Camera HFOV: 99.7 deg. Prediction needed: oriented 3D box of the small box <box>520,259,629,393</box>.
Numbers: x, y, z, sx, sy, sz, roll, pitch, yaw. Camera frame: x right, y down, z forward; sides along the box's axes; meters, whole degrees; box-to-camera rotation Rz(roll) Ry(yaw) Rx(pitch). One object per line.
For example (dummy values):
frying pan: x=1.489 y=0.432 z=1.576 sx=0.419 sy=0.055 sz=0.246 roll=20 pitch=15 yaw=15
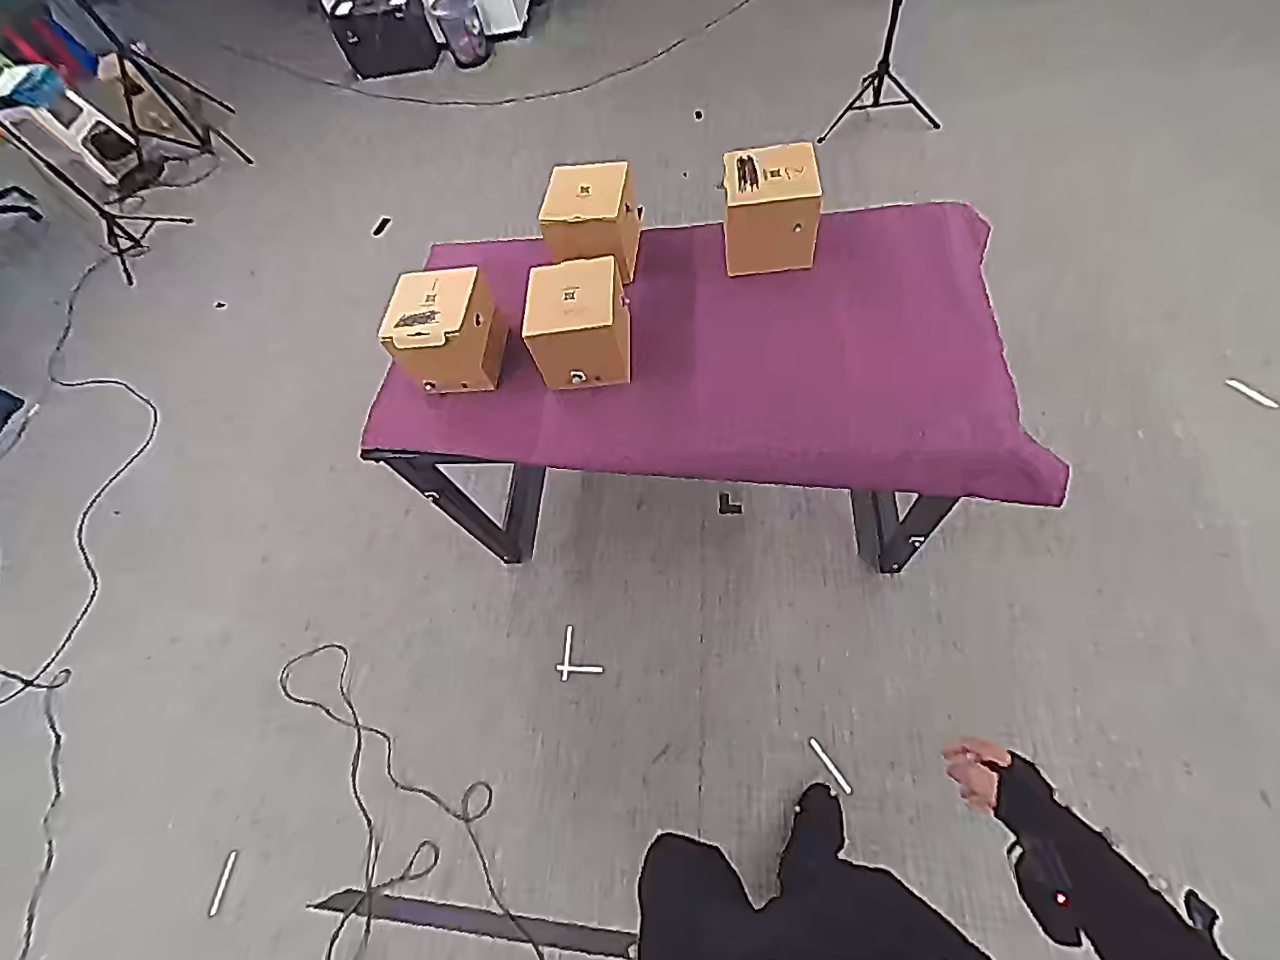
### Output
small box: x=-0.117 y=-0.293 z=1.048 sx=0.168 sy=0.176 sz=0.179 roll=-5 pitch=62 yaw=9

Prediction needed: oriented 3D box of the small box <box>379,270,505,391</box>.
small box: x=-0.388 y=-0.293 z=1.094 sx=0.168 sy=0.176 sz=0.179 roll=-2 pitch=61 yaw=9

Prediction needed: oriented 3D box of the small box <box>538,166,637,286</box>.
small box: x=-0.104 y=-0.545 z=1.173 sx=0.168 sy=0.176 sz=0.179 roll=2 pitch=64 yaw=11
